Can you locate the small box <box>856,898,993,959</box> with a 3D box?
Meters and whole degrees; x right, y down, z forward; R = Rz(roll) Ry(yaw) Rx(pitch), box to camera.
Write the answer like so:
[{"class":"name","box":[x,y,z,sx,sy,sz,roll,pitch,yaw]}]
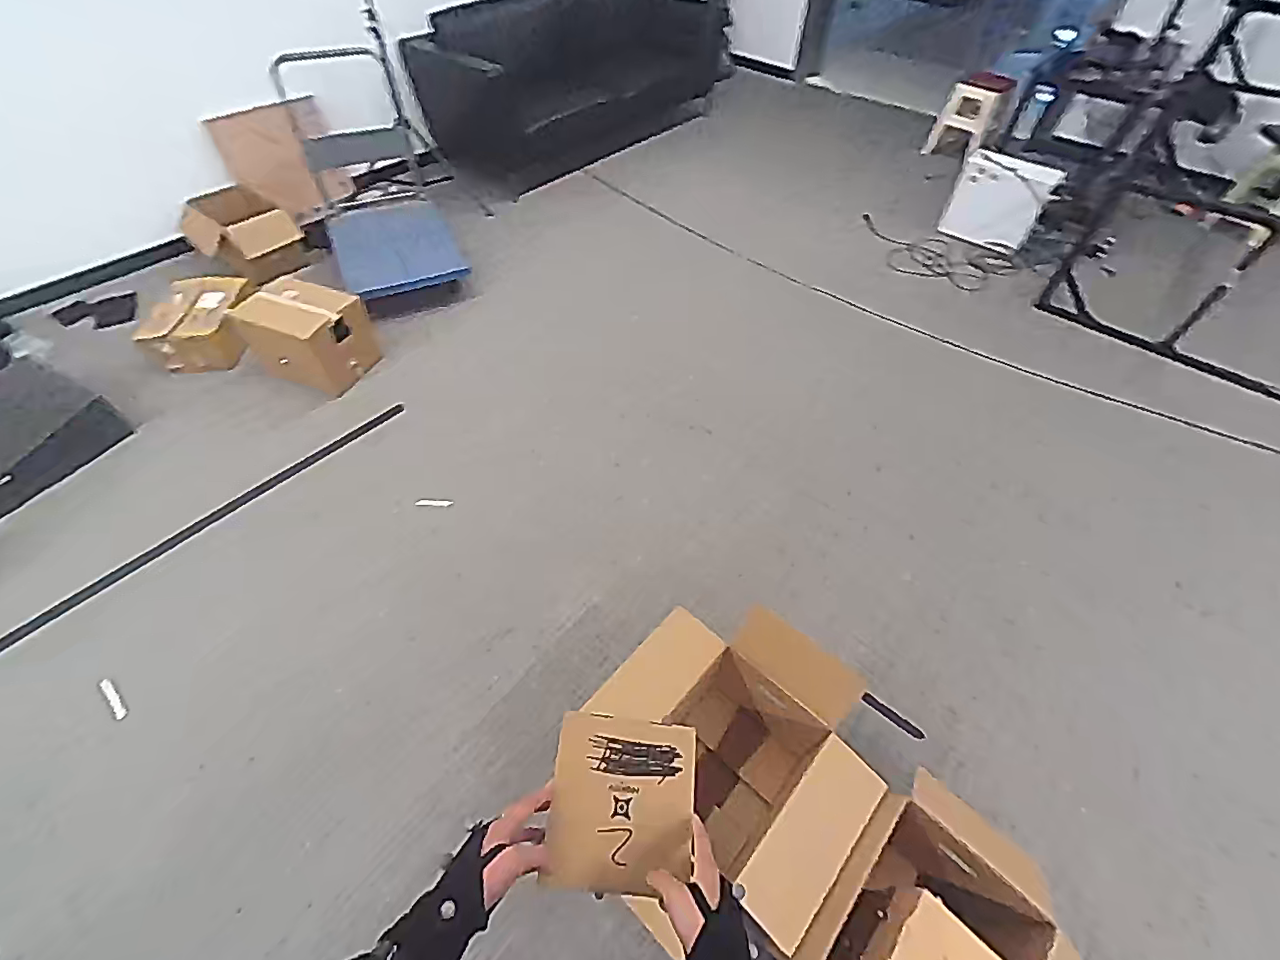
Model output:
[{"class":"small box","box":[0.540,0.919,1.006,0.179,0.176,0.168,38,62,25]}]
